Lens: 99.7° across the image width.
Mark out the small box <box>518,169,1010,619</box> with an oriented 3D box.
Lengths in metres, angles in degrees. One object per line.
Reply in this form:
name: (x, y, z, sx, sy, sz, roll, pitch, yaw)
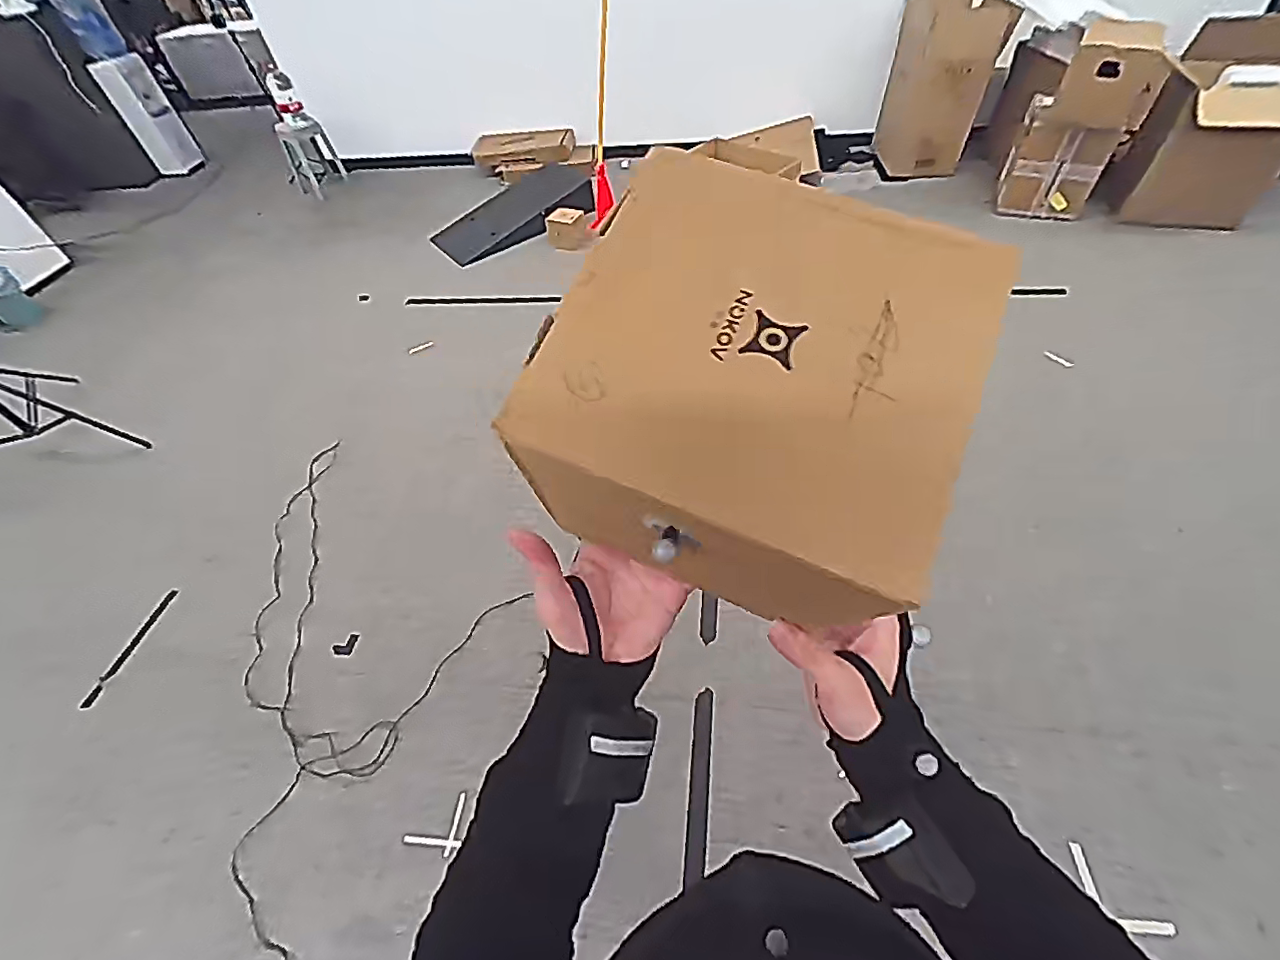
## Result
small box: (0.060, -0.029, 0.312, 0.179, 0.176, 0.168, 23, 74, 8)
